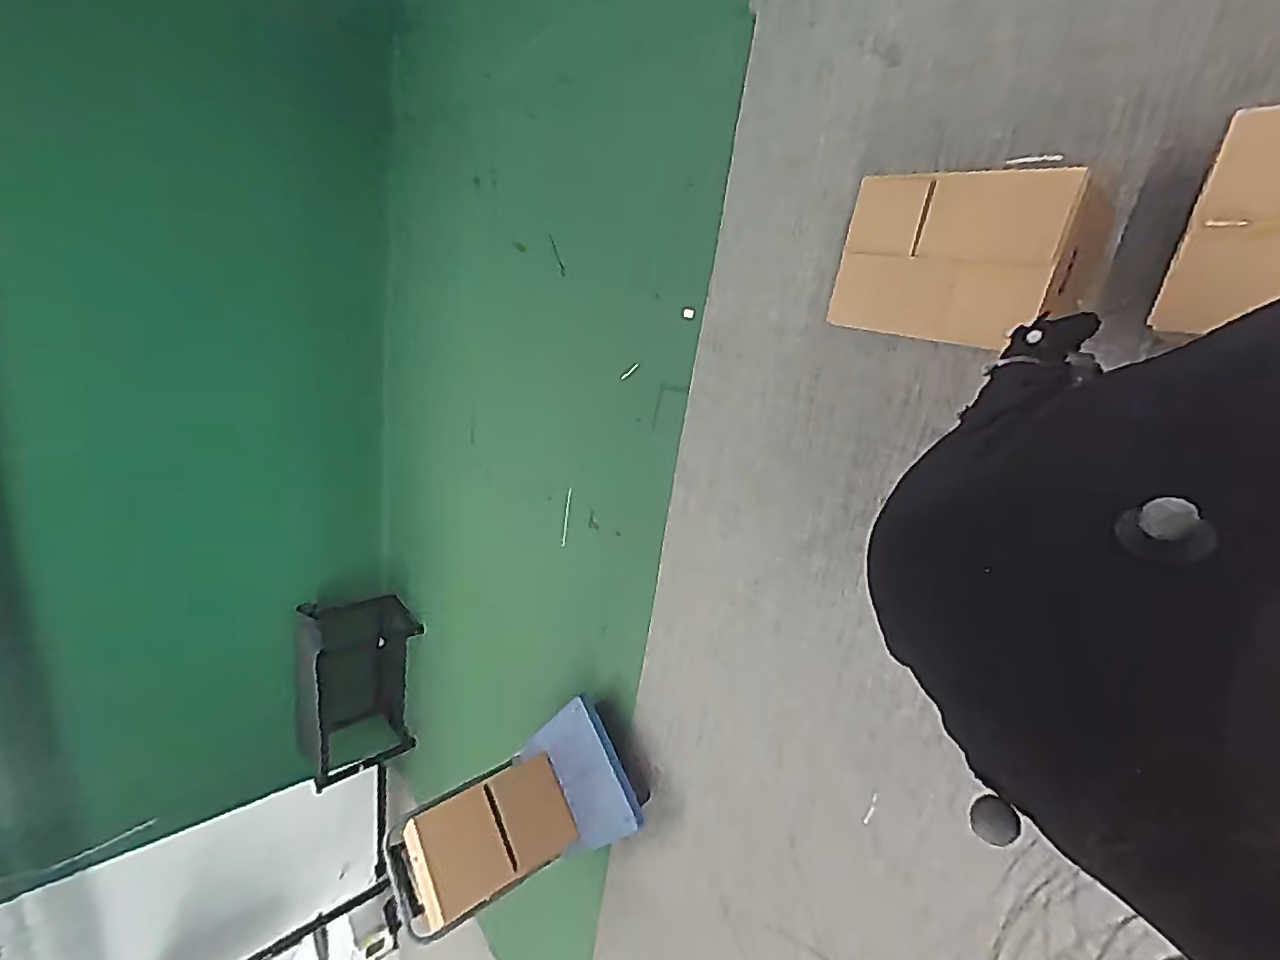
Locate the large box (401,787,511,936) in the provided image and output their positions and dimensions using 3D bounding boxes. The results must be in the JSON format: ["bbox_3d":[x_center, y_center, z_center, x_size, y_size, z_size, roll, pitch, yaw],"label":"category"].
[{"bbox_3d":[-0.793,1.619,2.311,0.408,0.320,0.320,58,136,27],"label":"large box"}]
